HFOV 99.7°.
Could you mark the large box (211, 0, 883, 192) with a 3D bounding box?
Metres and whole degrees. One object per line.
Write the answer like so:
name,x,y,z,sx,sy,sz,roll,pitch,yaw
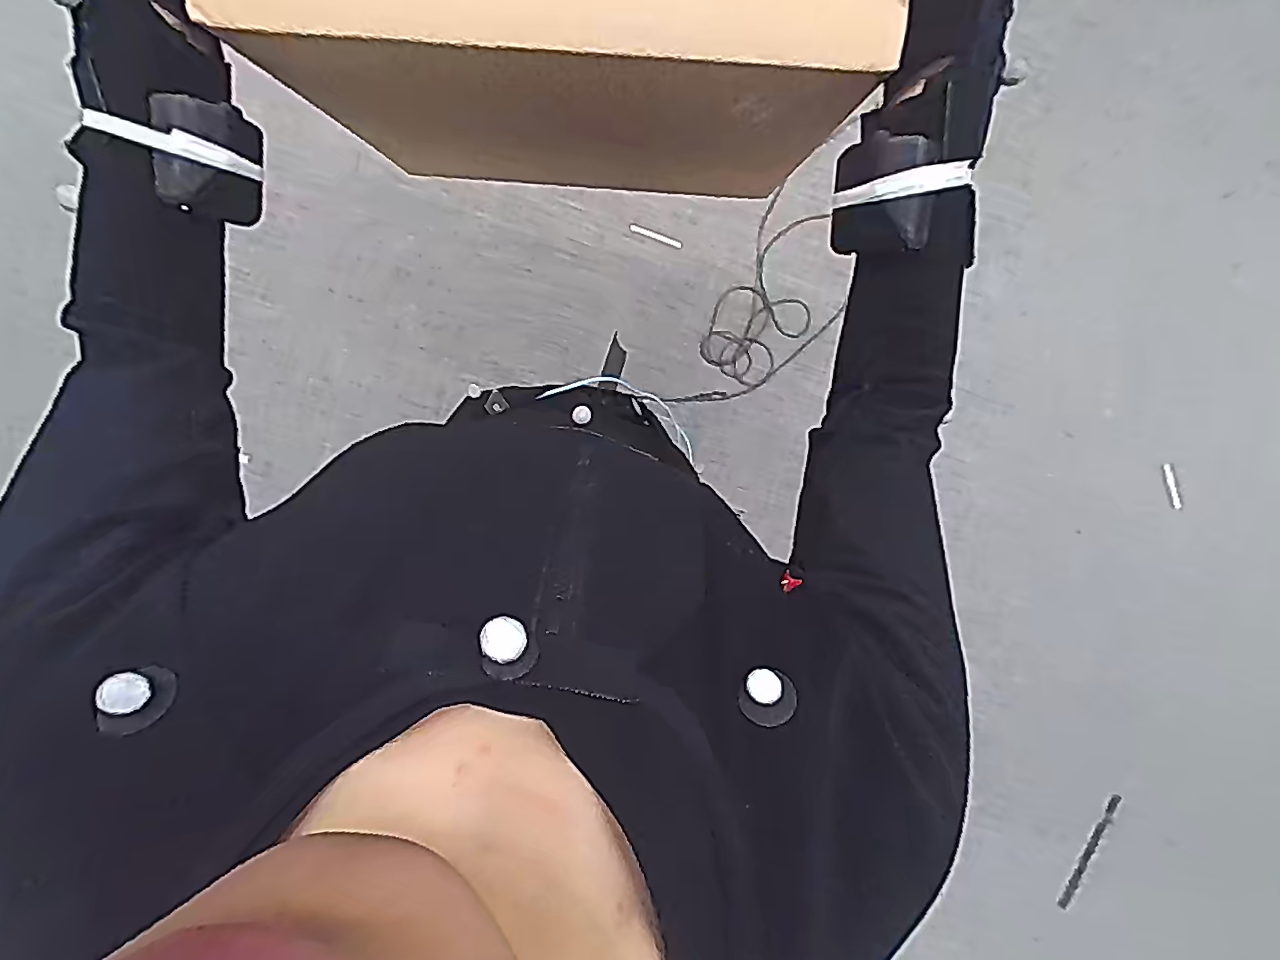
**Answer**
large box,-0.054,-0.441,0.431,0.408,0.320,0.320,2,106,-2
